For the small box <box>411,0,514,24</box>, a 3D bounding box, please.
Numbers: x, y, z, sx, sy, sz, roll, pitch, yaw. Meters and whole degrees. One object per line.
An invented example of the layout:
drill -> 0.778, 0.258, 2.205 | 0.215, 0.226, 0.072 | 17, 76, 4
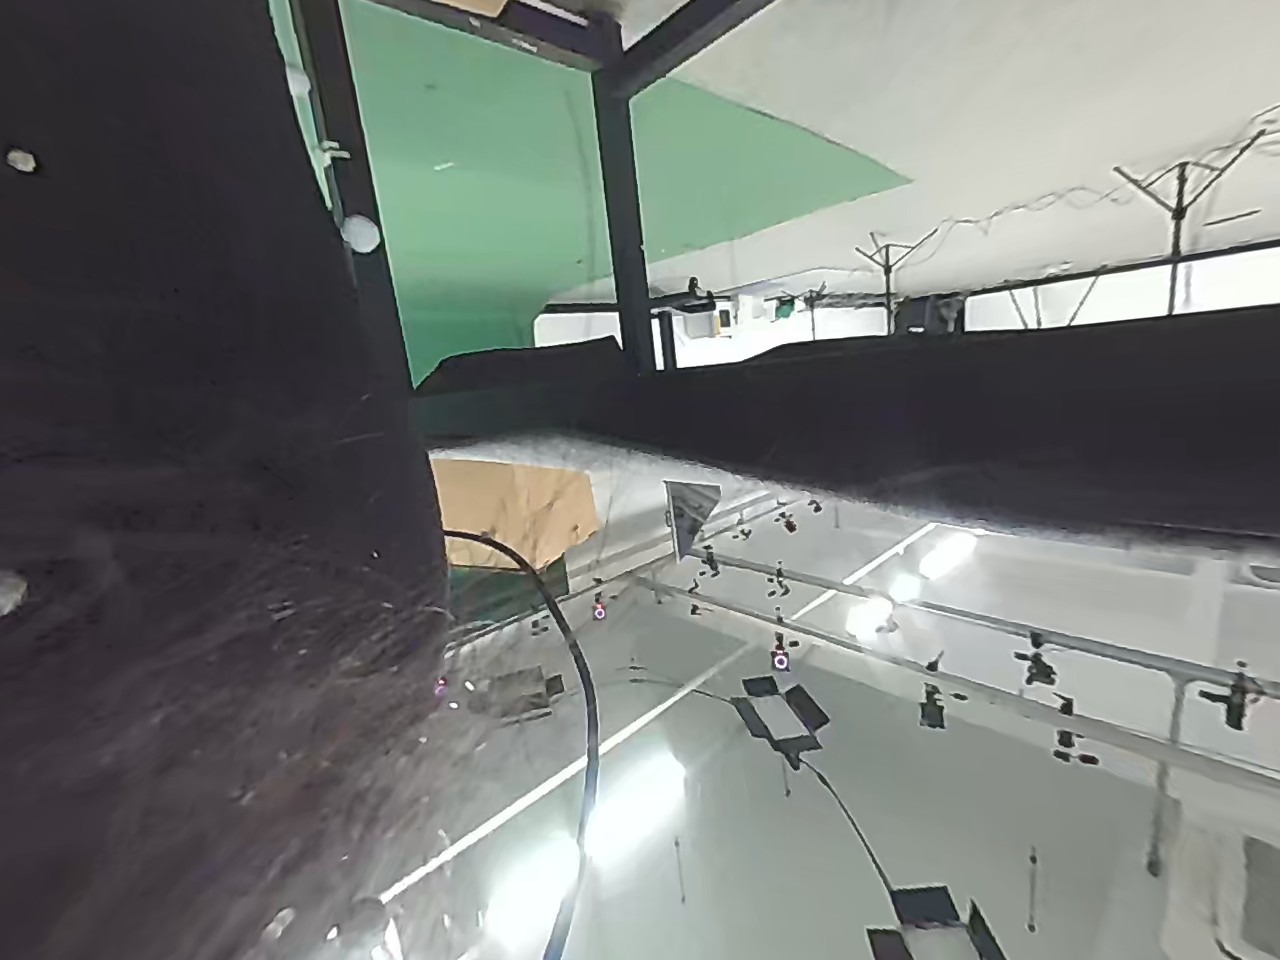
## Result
small box -> -0.225, -0.685, 0.617 | 0.179, 0.176, 0.168 | -15, -166, -35

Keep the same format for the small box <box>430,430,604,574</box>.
small box -> -0.180, 0.025, 0.797 | 0.179, 0.176, 0.168 | -2, -166, 28
